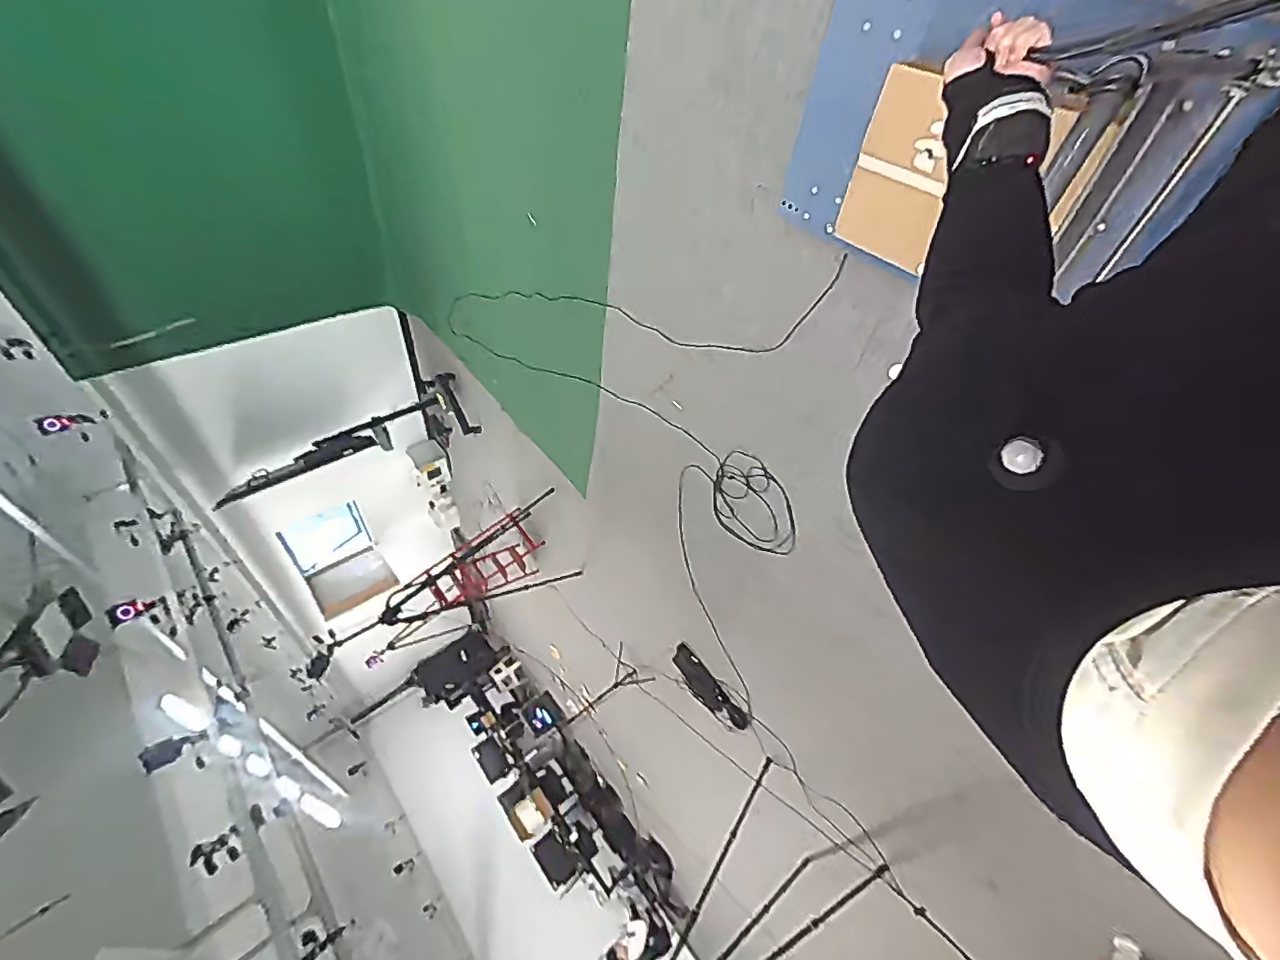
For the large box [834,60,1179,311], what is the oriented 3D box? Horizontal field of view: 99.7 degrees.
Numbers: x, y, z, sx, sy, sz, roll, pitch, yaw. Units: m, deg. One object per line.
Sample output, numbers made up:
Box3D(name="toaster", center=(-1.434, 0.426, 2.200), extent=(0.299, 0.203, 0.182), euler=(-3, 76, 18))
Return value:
Box3D(name="large box", center=(0.682, -0.591, 1.061), extent=(0.408, 0.320, 0.320), euler=(44, 145, 29))
